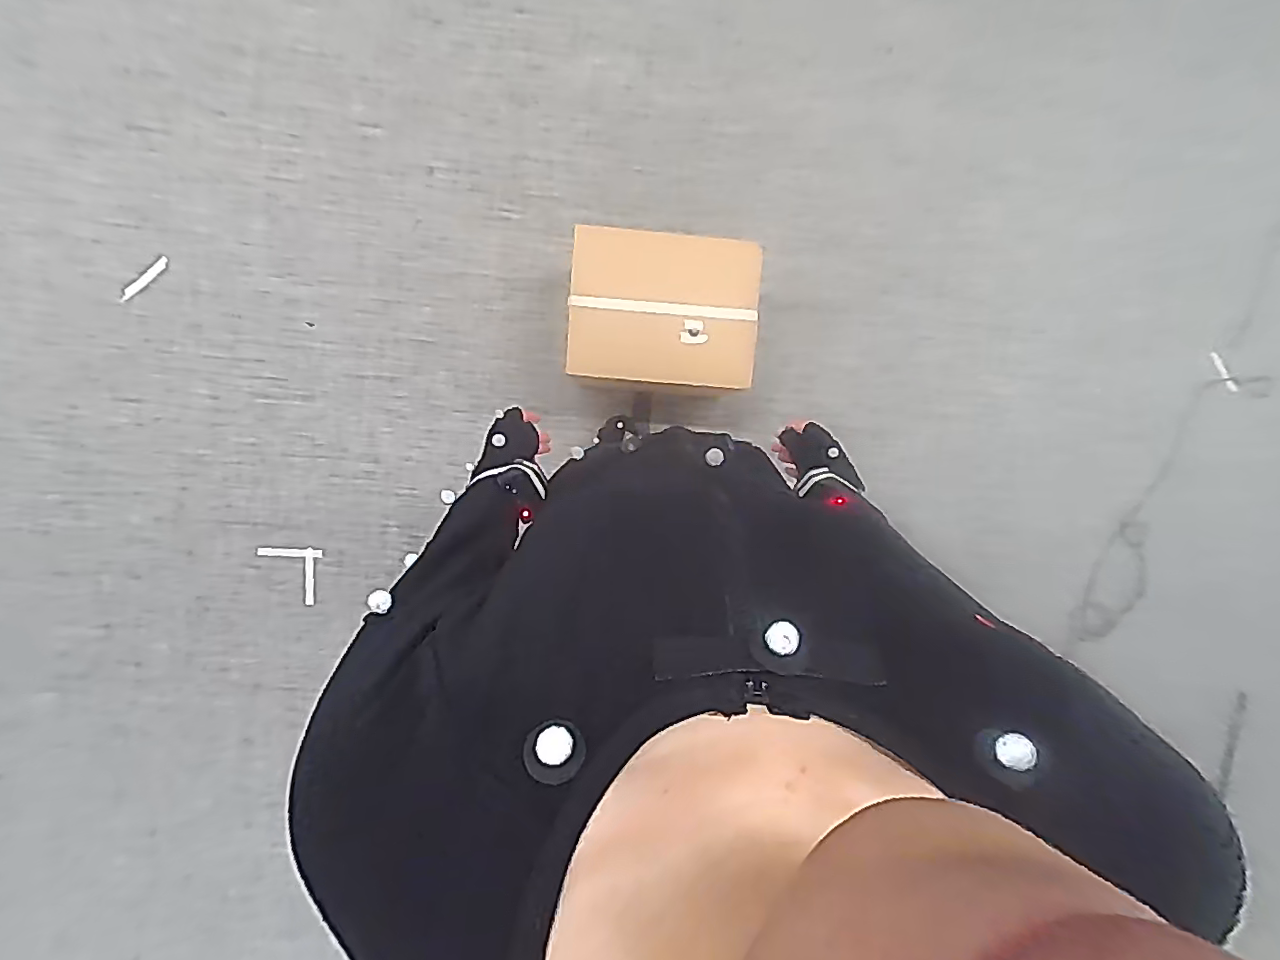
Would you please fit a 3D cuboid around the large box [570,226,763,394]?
[{"bbox_3d":[0.046,-0.383,1.300,0.408,0.320,0.320,4,96,-4],"label":"large box"}]
